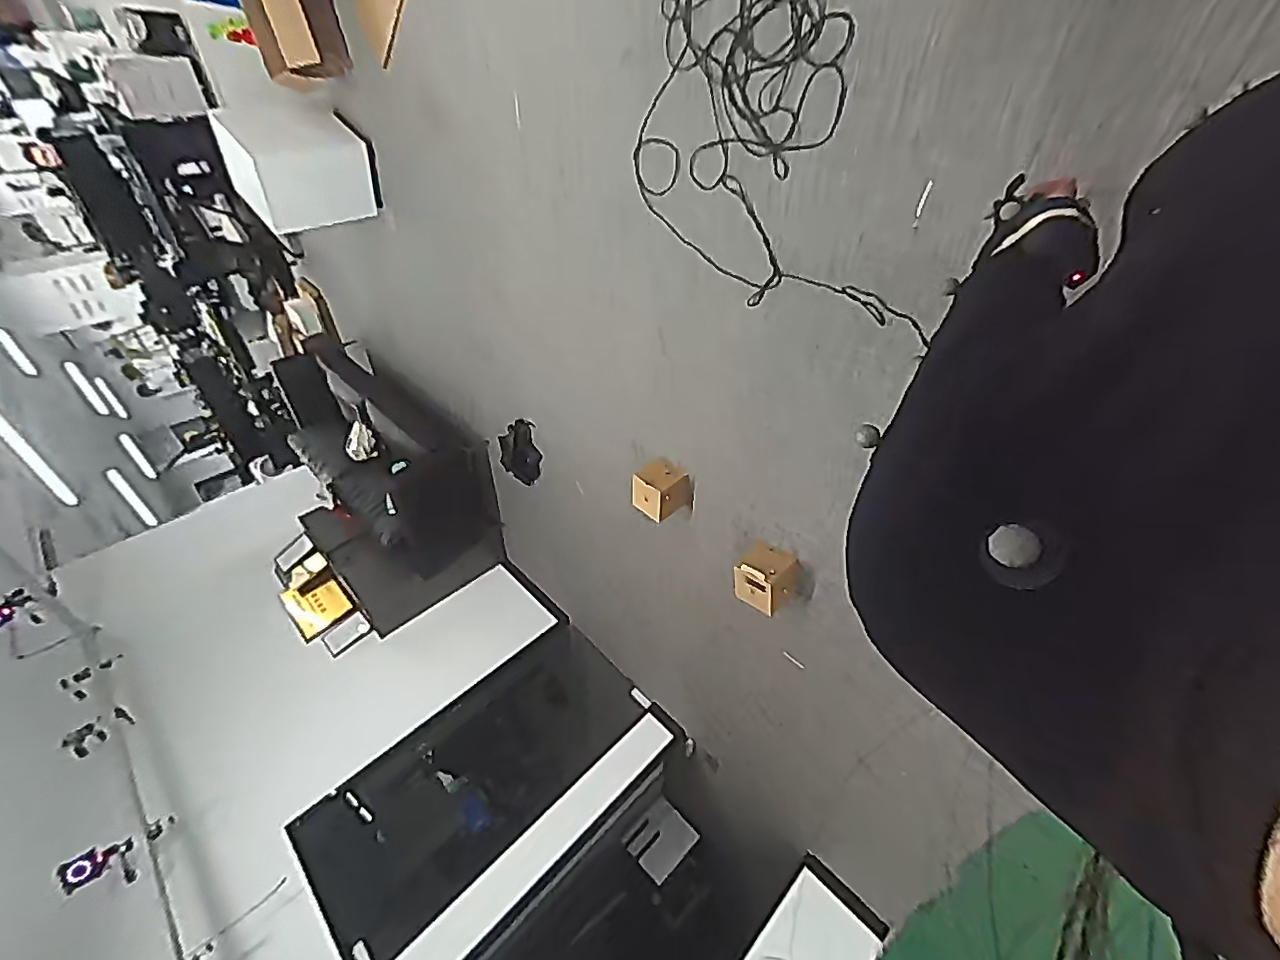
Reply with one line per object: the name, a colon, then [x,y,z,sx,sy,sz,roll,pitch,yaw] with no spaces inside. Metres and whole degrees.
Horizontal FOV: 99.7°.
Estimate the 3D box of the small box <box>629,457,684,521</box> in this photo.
small box: [0.070,0.033,2.290,0.168,0.176,0.179,34,140,33]
